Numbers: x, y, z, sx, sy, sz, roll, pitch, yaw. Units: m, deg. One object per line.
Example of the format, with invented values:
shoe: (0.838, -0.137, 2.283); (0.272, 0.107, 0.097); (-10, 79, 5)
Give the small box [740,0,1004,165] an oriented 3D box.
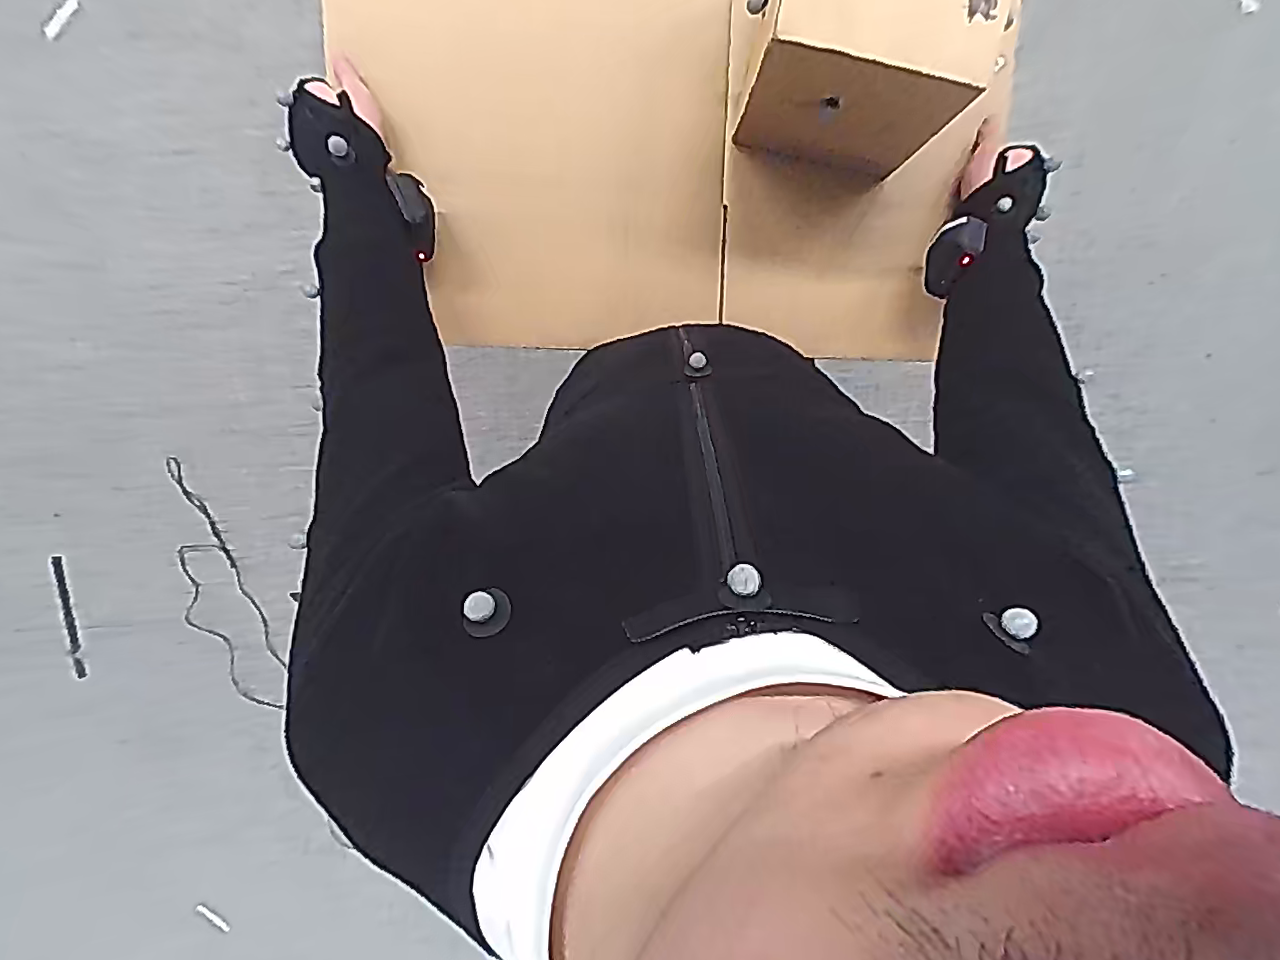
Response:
small box: (0.200, -0.416, 0.490); (0.179, 0.176, 0.168); (11, 98, -2)
